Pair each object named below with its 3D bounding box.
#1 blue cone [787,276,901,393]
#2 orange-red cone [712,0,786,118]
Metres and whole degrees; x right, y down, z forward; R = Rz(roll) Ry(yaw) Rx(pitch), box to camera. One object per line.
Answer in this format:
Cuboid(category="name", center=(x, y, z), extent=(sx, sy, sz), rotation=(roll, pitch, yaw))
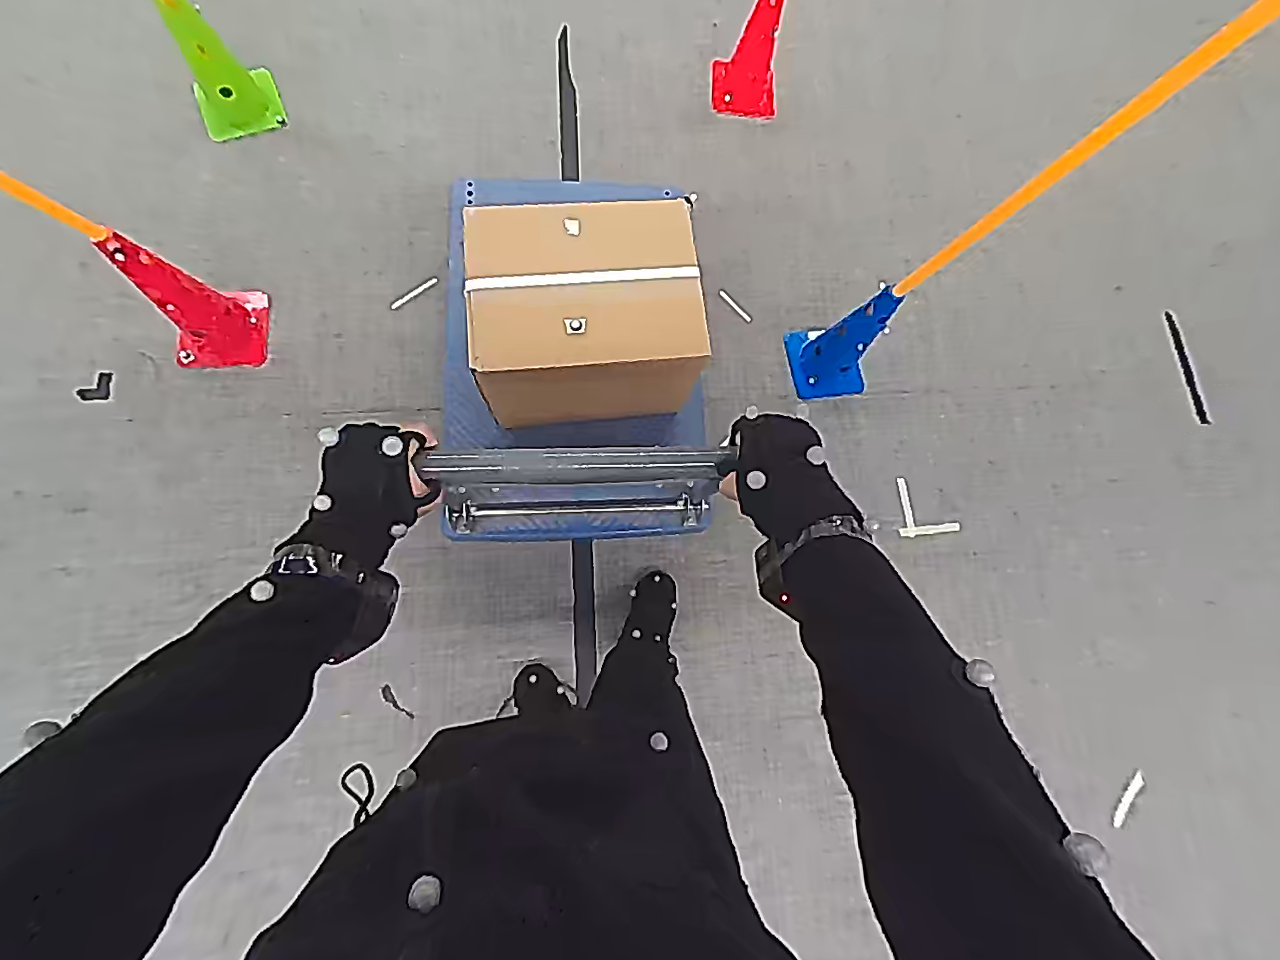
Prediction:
Cuboid(category="blue cone", center=(0.531, -0.372, 1.345), extent=(0.193, 0.380, 0.192), rotation=(-7, 77, -8))
Cuboid(category="orange-red cone", center=(0.343, -1.249, 1.506), extent=(0.199, 0.360, 0.198), rotation=(4, 78, -7))
